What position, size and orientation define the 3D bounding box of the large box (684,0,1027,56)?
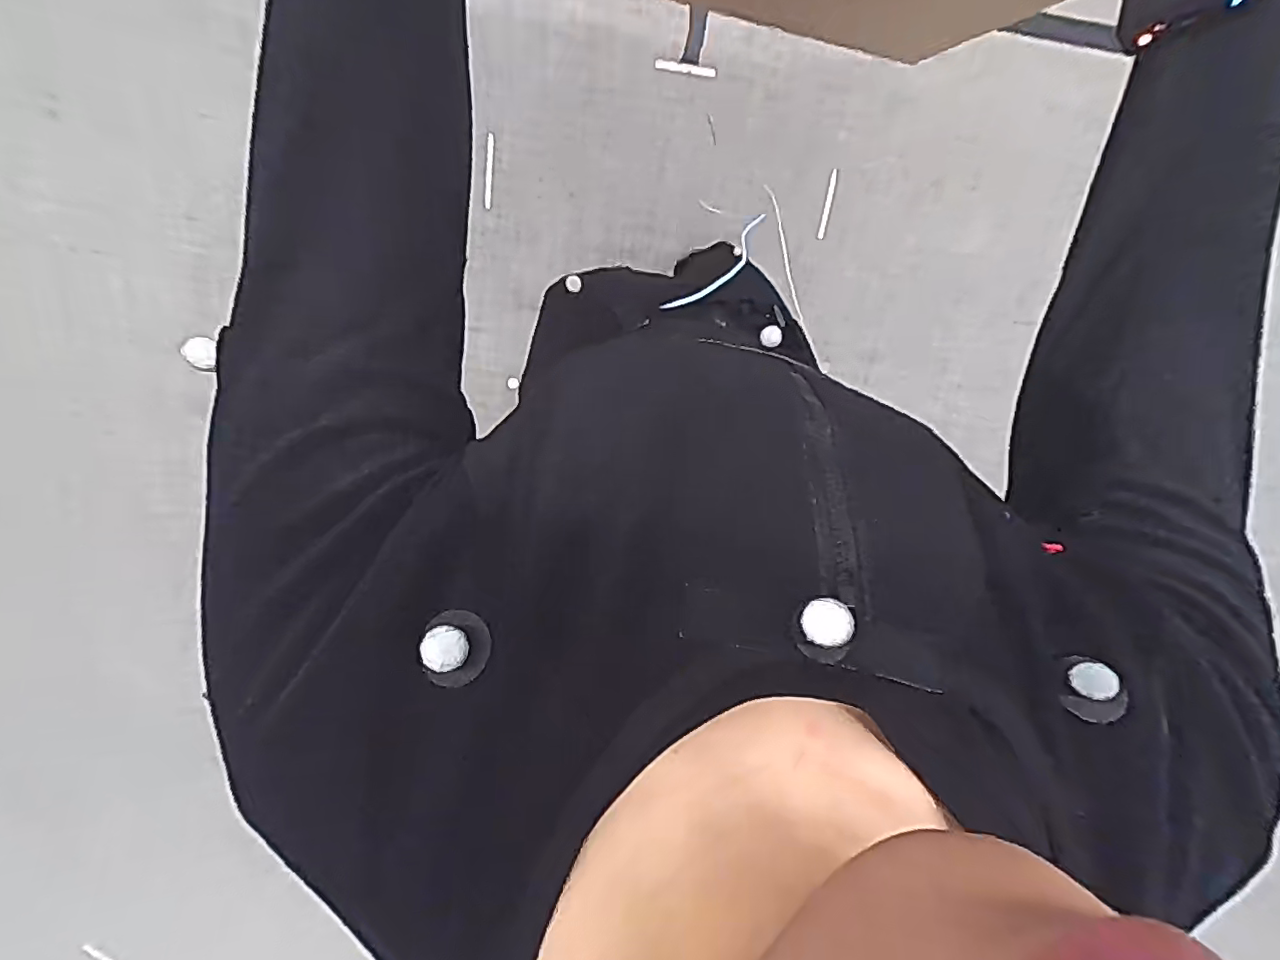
[{"bbox_3d":[0.141,-0.560,0.379,0.408,0.320,0.320,9,118,-7],"label":"large box"}]
